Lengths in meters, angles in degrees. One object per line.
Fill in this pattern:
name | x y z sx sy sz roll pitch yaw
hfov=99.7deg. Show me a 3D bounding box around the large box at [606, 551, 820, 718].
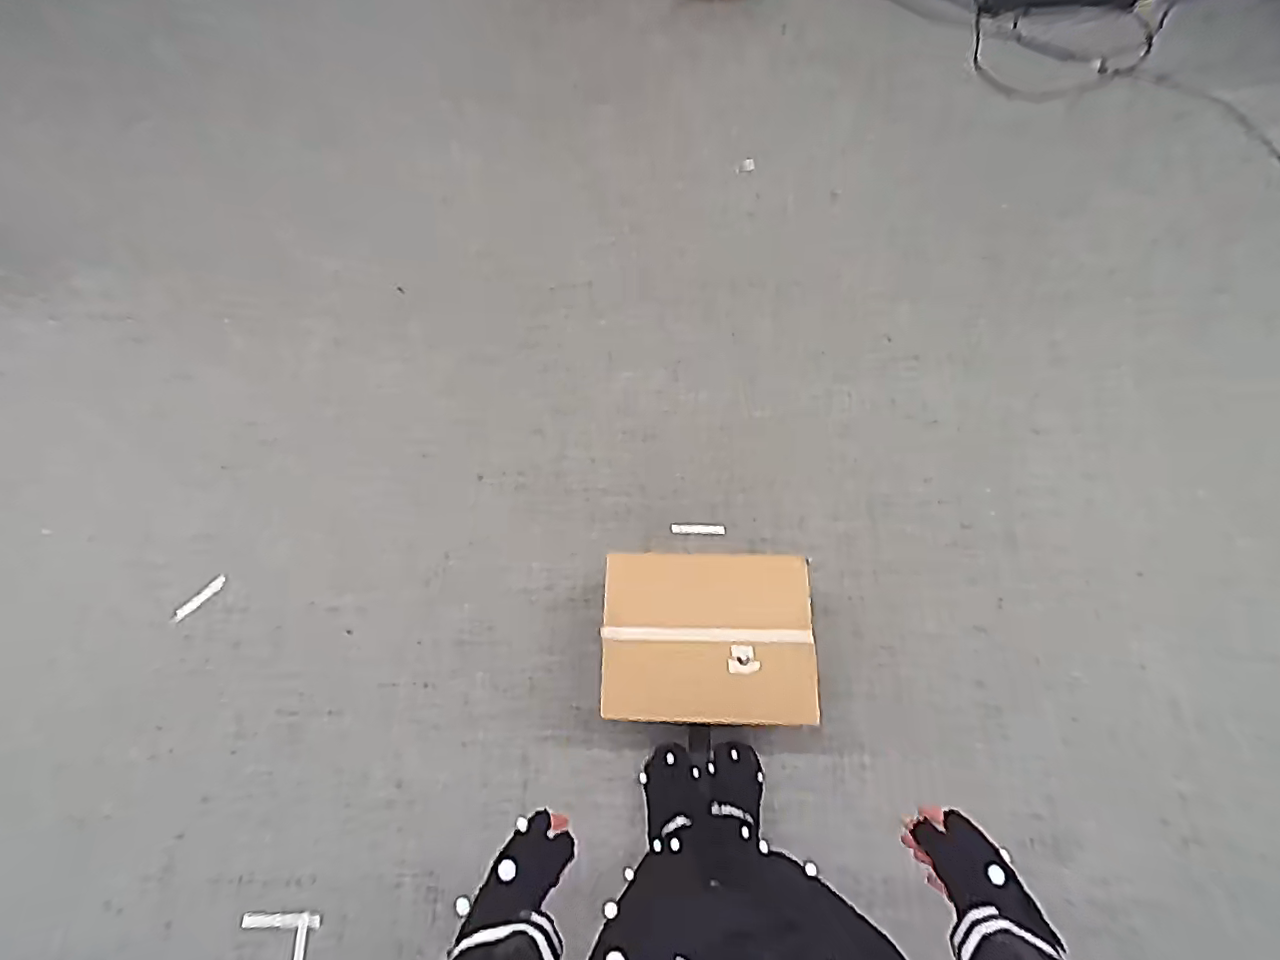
large box | 0.138 0.339 1.184 0.408 0.320 0.320 0 72 2
